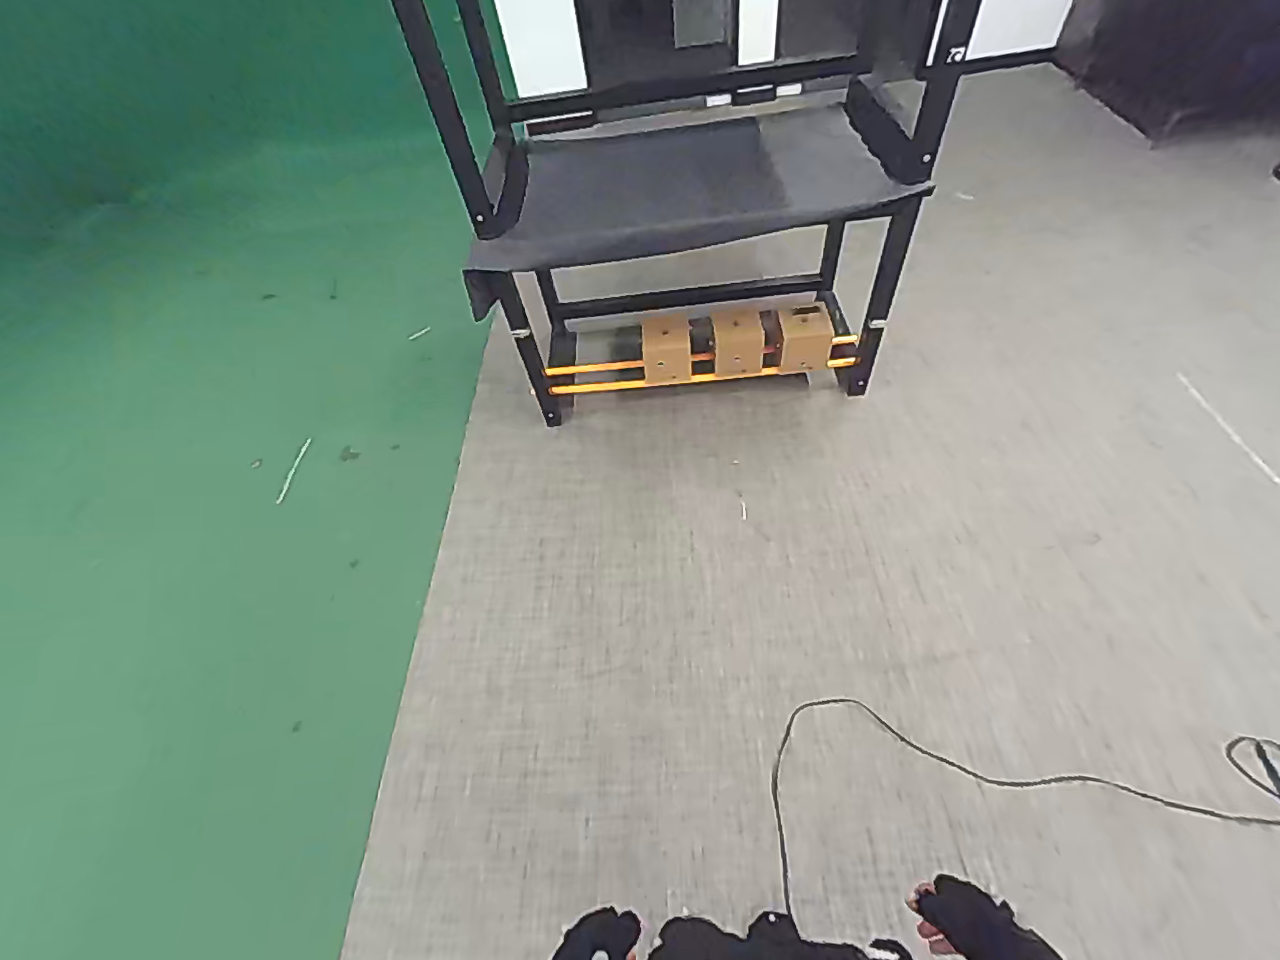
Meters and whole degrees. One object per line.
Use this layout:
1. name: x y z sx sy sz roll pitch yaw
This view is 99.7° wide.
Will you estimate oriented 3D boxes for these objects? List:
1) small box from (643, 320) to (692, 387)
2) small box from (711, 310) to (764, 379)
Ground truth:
1. small box: 0.101 -0.449 1.943 0.168 0.176 0.179 -4 54 4
2. small box: 0.345 -0.474 1.926 0.168 0.176 0.179 -5 53 4
